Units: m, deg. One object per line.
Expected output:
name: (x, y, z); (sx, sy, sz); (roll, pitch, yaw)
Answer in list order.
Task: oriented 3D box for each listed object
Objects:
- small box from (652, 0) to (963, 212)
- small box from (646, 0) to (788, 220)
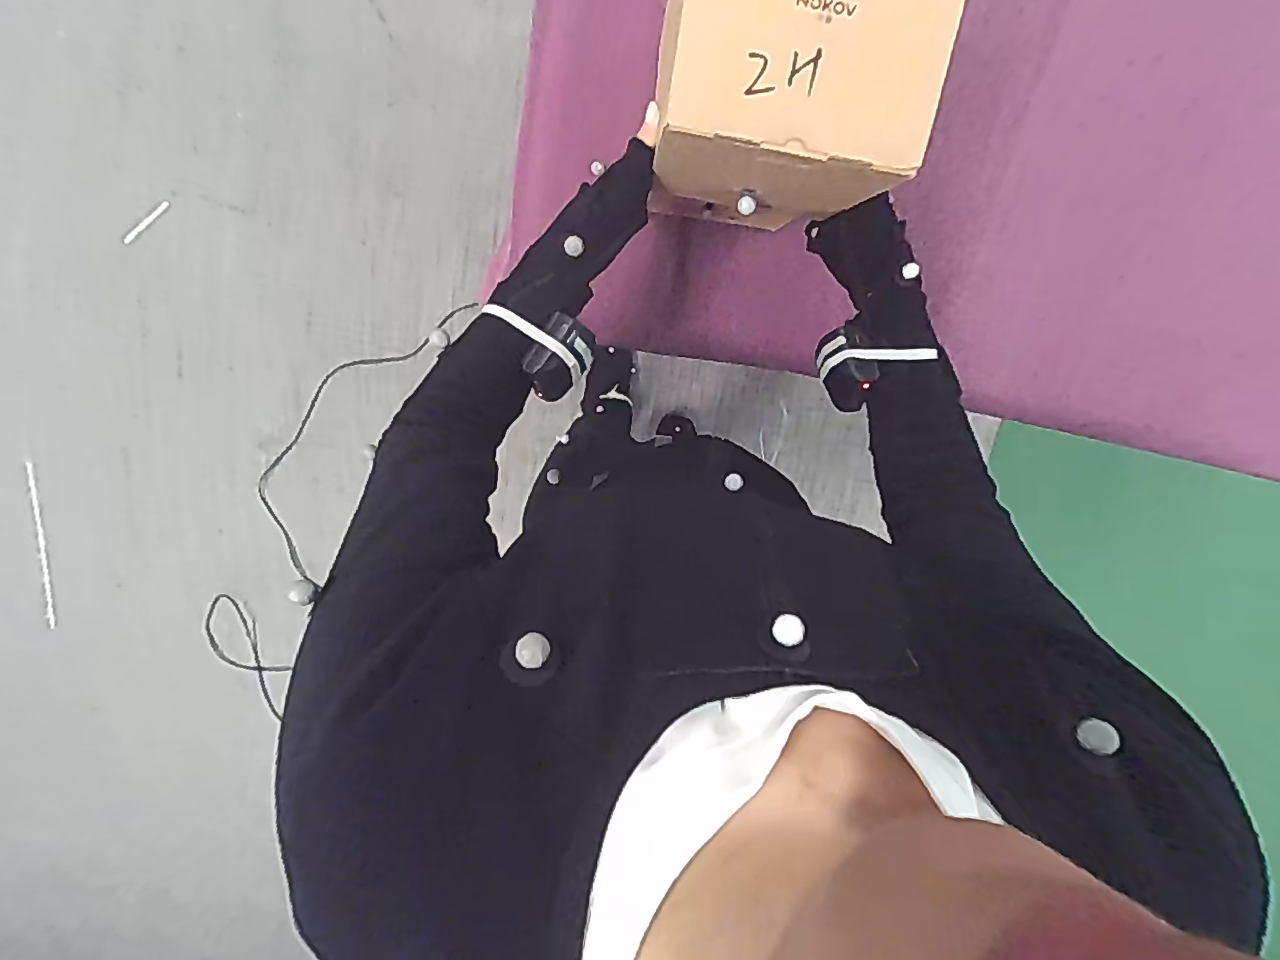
small box: (0.105, -0.314, 0.389); (0.168, 0.176, 0.179); (8, 107, -5)
small box: (0.100, -0.379, 0.541); (0.168, 0.176, 0.179); (5, 107, -6)
